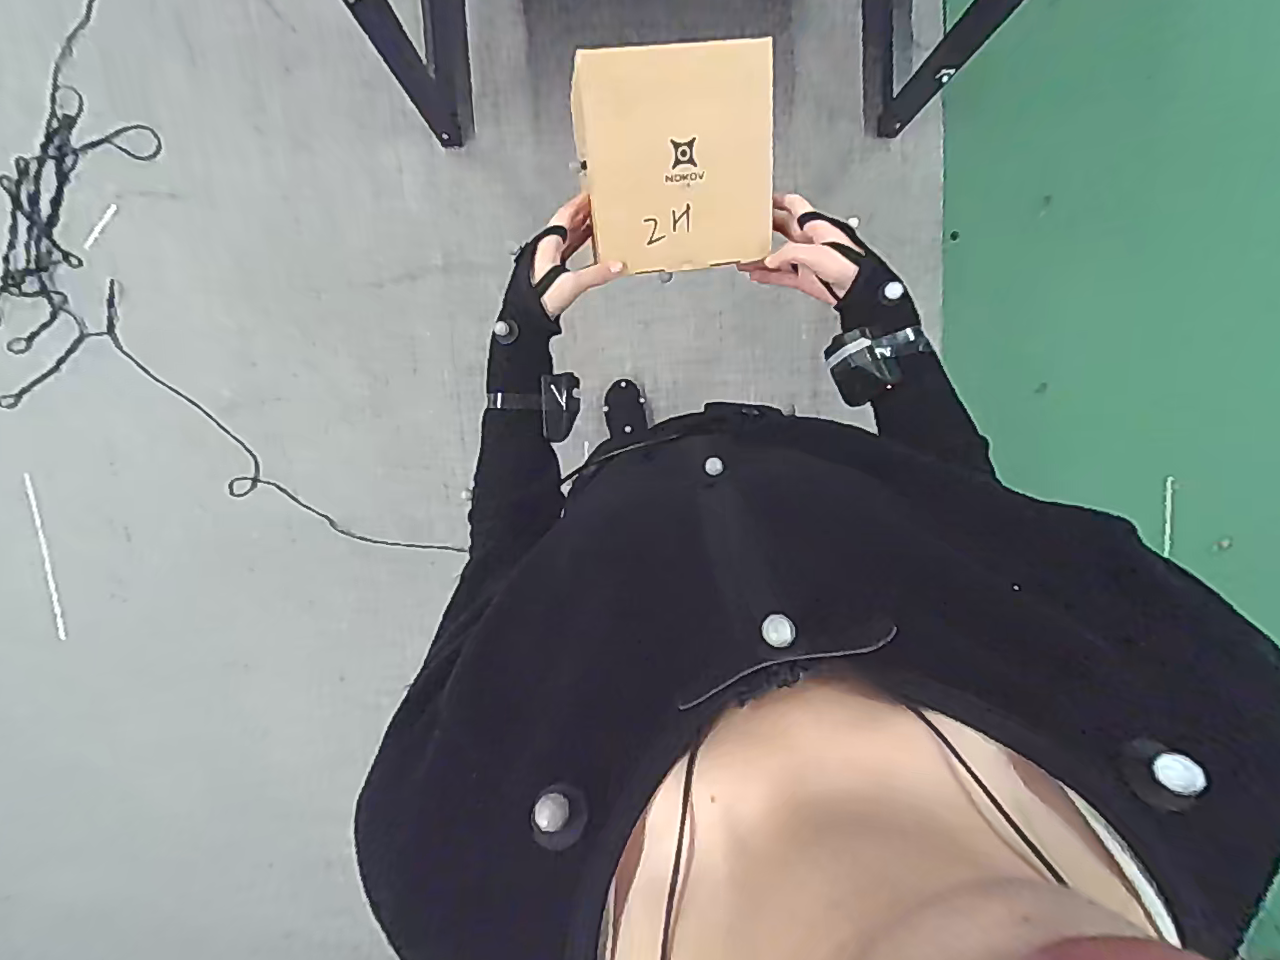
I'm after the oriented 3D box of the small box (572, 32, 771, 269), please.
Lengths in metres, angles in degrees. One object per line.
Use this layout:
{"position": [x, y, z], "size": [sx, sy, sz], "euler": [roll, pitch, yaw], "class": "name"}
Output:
{"position": [0.023, -0.312, 0.546], "size": [0.168, 0.176, 0.179], "euler": [-7, 113, -5], "class": "small box"}
